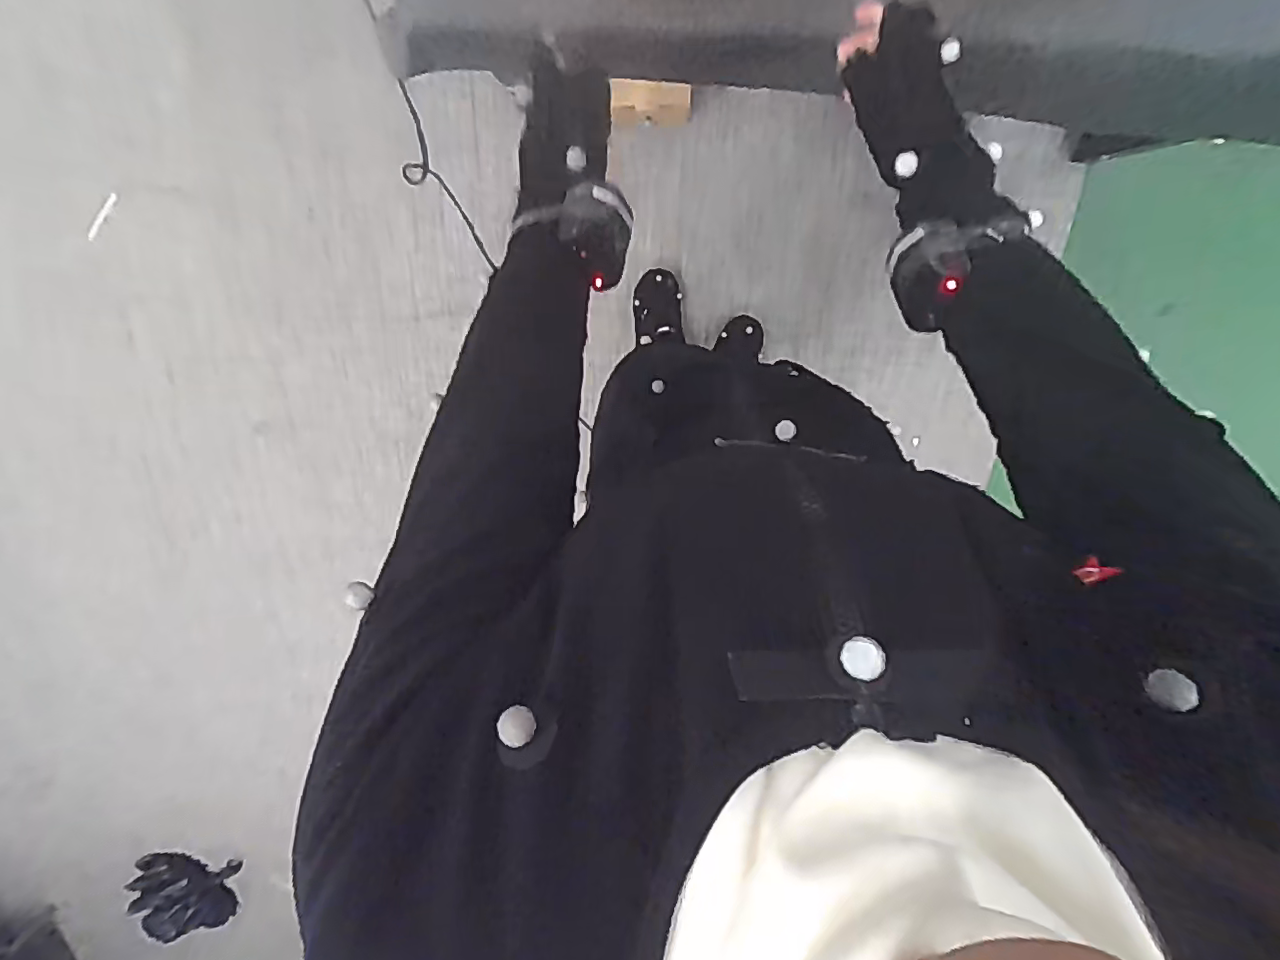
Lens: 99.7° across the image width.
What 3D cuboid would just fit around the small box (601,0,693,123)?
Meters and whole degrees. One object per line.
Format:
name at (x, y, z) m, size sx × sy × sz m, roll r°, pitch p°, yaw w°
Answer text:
small box at (0.016, -0.814, 1.060) m, size 0.168 × 0.176 × 0.179 m, roll 0°, pitch 113°, yaw 1°
